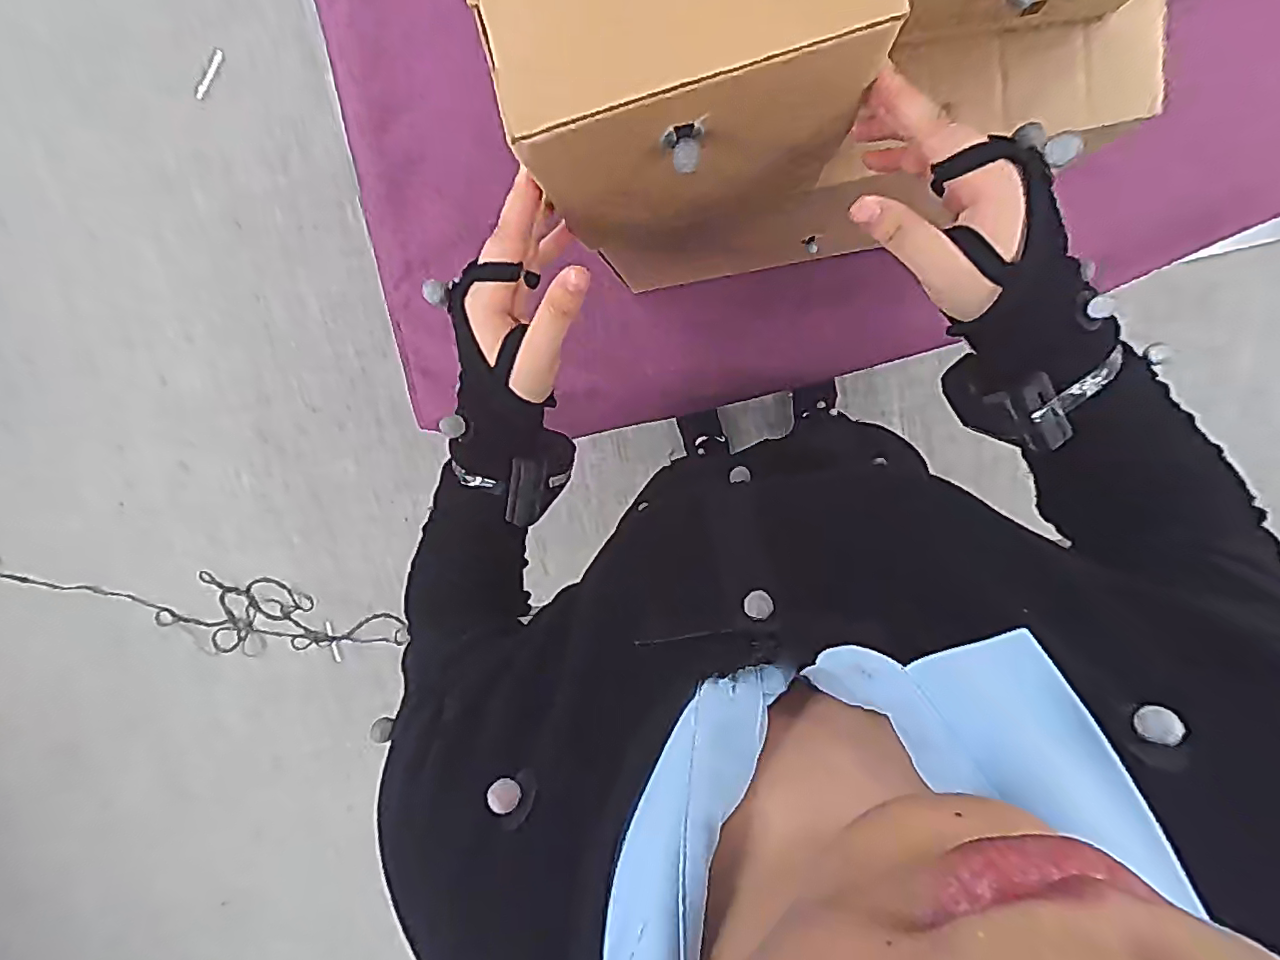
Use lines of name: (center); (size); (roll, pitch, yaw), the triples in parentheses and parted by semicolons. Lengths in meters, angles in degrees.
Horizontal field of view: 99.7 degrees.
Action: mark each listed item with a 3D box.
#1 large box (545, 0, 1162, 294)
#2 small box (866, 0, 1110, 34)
large box: (0.147, -0.392, 0.511); (0.408, 0.320, 0.320); (-9, 98, 9)
small box: (0.211, -0.368, 0.256); (0.168, 0.176, 0.179); (-2, 100, 9)
